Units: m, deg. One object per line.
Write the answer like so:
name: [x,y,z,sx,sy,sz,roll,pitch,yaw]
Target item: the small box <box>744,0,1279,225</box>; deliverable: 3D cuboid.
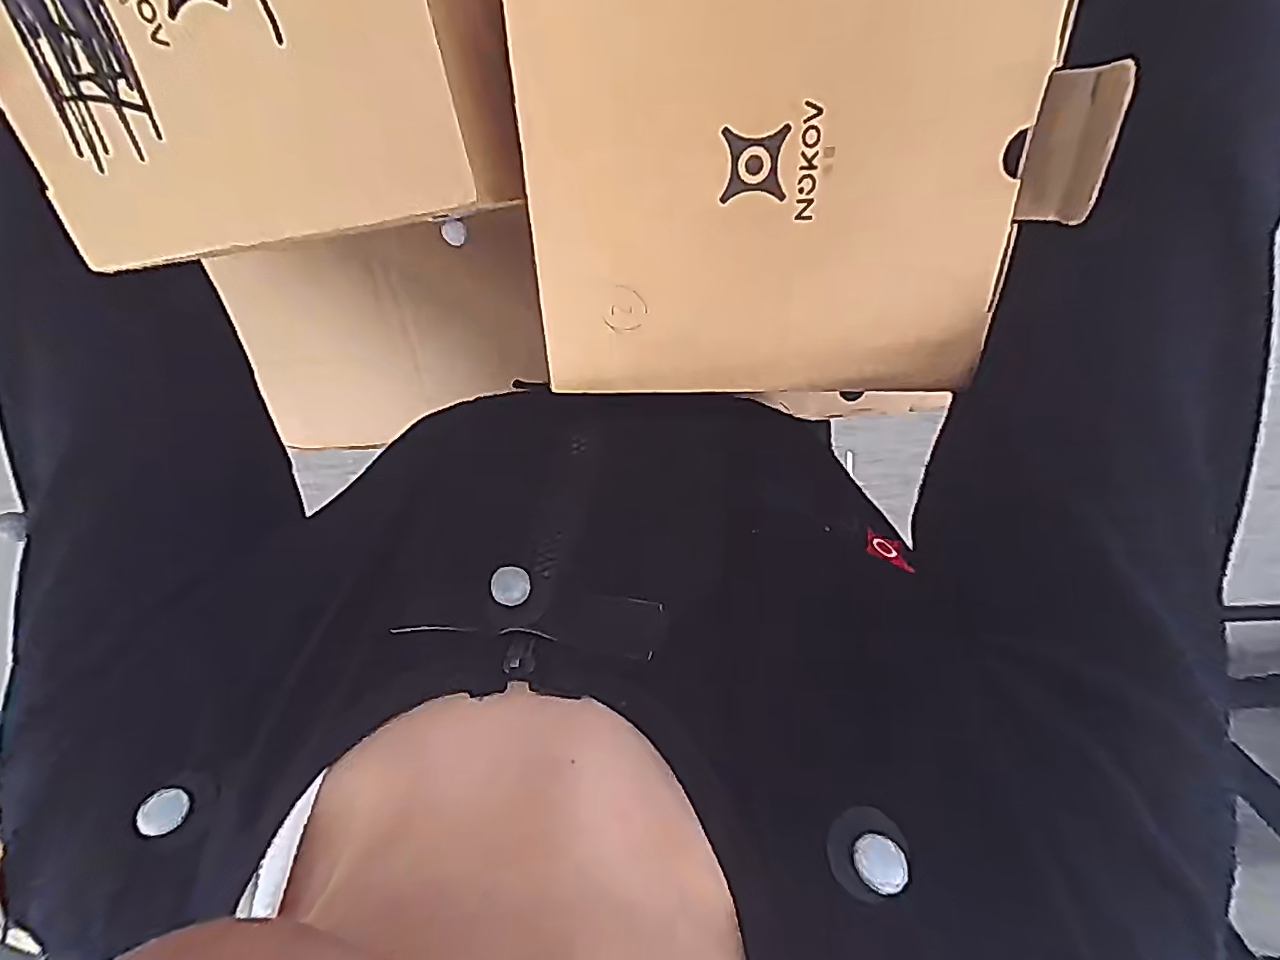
small box: [0.143,-0.208,0.197,0.179,0.176,0.168,12,126,0]
